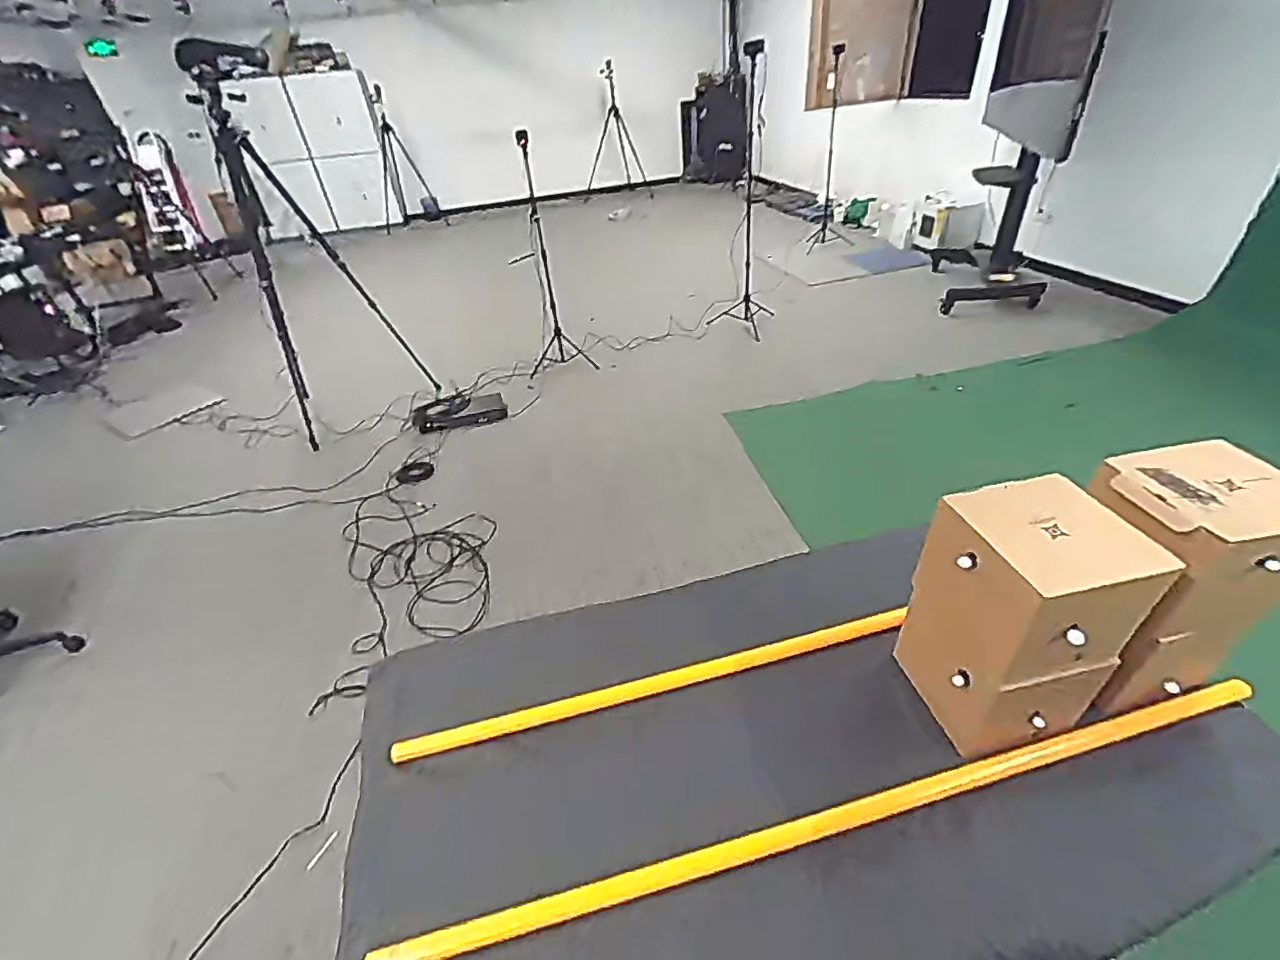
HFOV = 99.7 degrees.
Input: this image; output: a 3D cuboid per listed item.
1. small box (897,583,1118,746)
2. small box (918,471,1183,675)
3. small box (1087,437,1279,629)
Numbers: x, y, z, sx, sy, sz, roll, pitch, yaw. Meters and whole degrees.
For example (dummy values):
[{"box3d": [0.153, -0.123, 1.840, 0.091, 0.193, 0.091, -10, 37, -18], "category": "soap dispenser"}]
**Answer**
[{"box3d": [0.495, 0.248, 0.762, 0.168, 0.176, 0.179, -10, 37, -6], "category": "small box"}, {"box3d": [0.478, 0.117, 0.667, 0.168, 0.176, 0.179, -11, 37, -5], "category": "small box"}, {"box3d": [0.701, 0.069, 0.693, 0.179, 0.176, 0.168, -9, 38, -4], "category": "small box"}]
